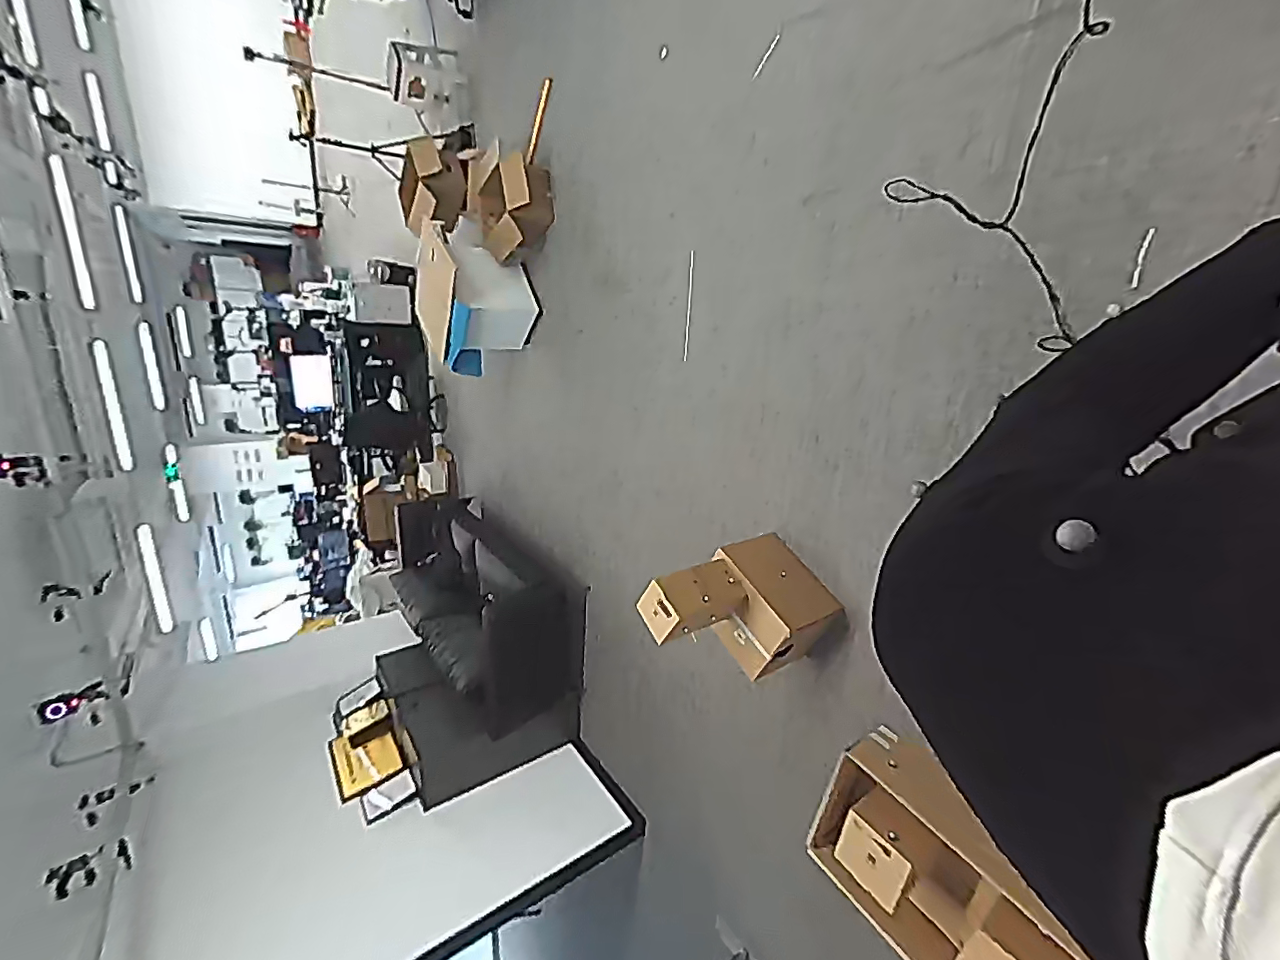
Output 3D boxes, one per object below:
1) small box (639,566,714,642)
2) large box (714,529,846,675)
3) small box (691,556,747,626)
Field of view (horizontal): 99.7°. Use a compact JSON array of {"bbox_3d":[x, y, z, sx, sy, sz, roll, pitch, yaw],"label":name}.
[{"bbox_3d":[0.131,0.421,1.861,0.168,0.176,0.179,55,138,29],"label":"small box"},{"bbox_3d":[0.488,0.453,2.078,0.408,0.320,0.320,50,136,34],"label":"large box"},{"bbox_3d":[0.257,0.401,1.963,0.168,0.176,0.179,55,136,30],"label":"small box"}]
